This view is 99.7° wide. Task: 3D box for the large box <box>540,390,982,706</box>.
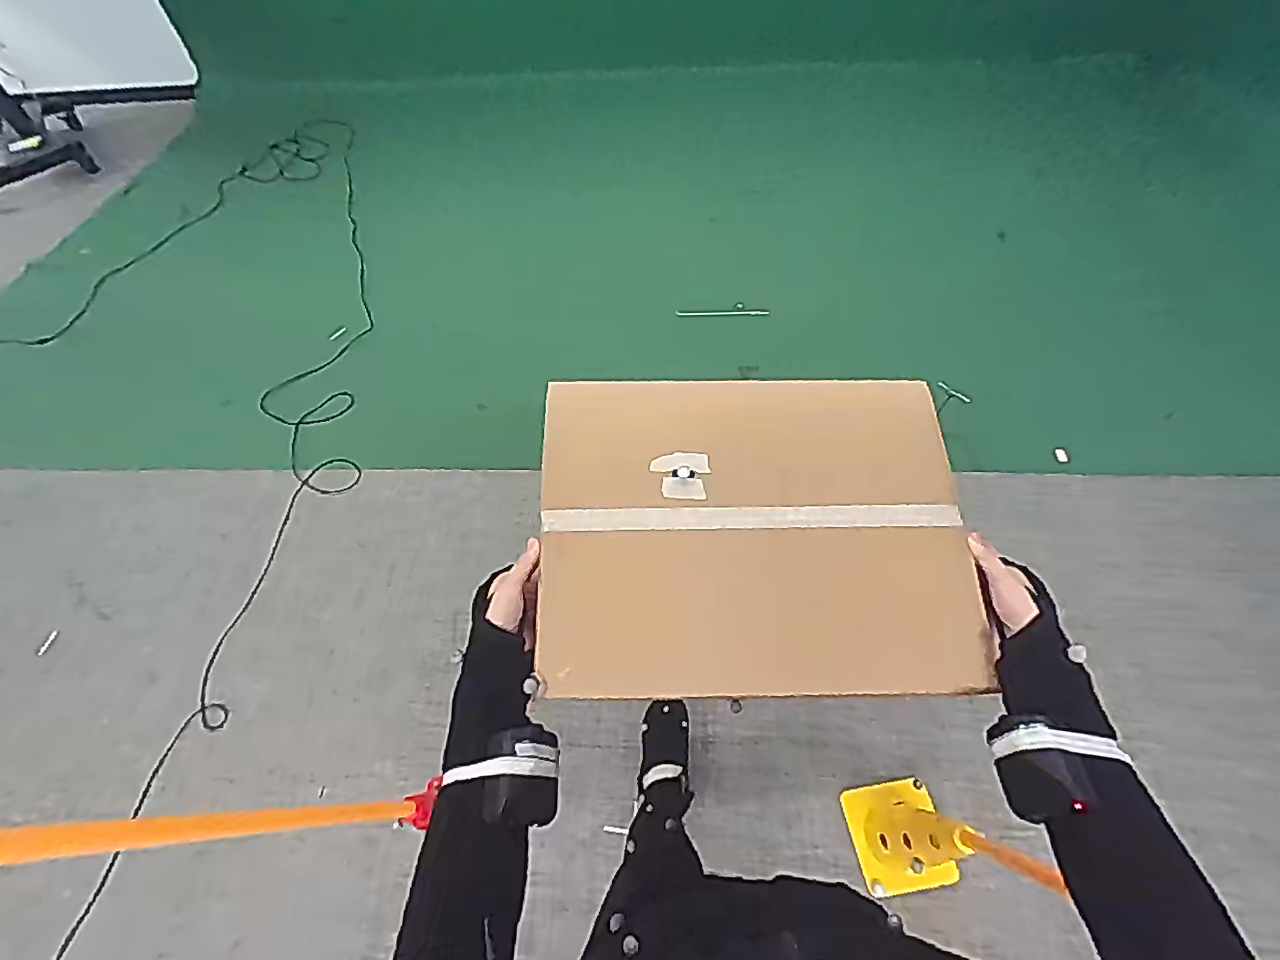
[{"bbox_3d":[0.107,0.104,0.672,0.408,0.320,0.320,-1,67,0],"label":"large box"}]
